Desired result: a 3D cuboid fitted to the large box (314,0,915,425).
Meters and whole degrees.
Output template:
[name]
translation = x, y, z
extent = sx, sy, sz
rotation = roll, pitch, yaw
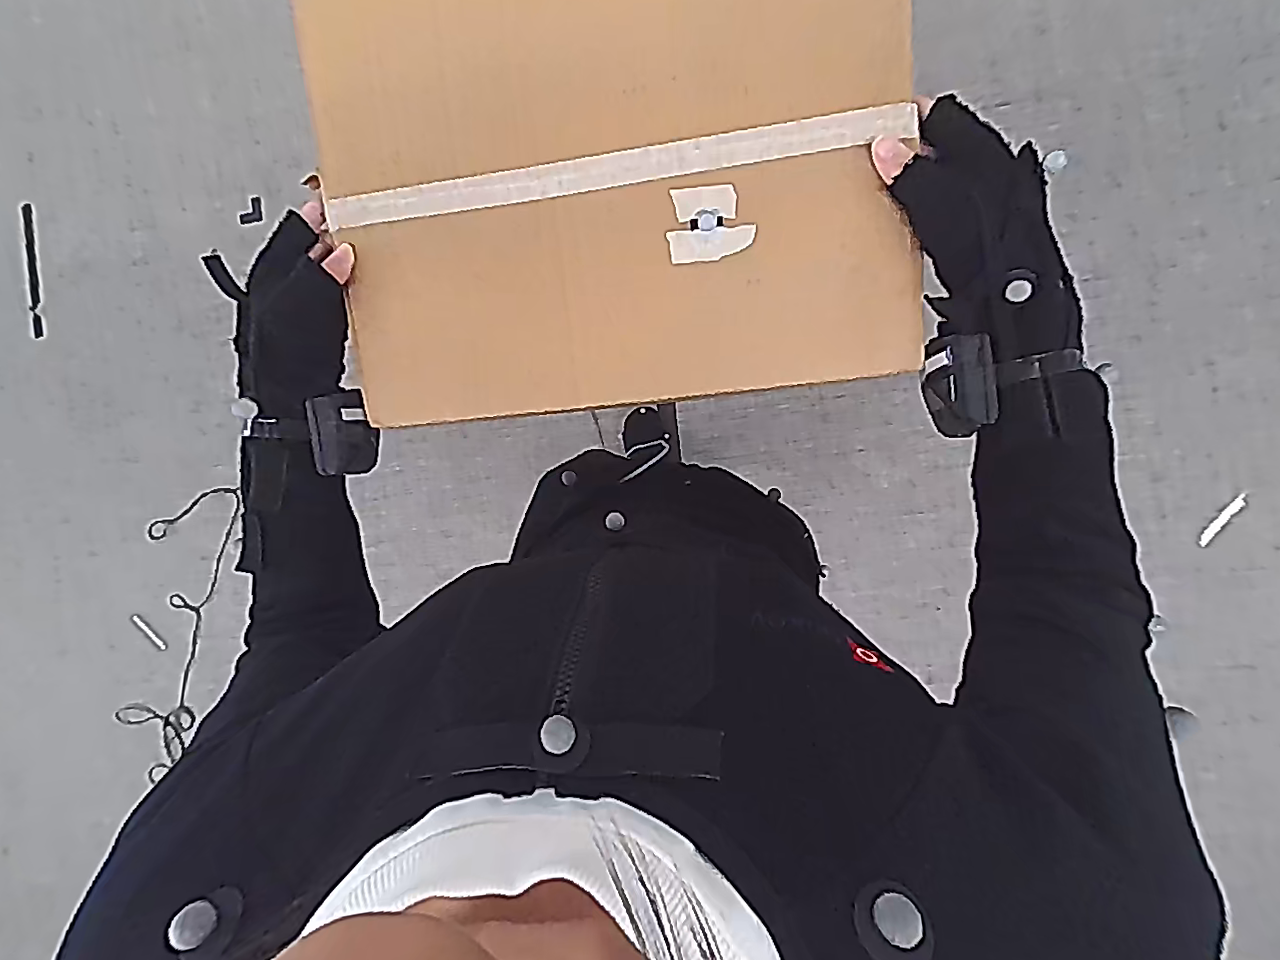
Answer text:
[large box]
translation = -0.008, -0.237, 0.529
extent = 0.408, 0.320, 0.320
rotation = -6, 99, 6
